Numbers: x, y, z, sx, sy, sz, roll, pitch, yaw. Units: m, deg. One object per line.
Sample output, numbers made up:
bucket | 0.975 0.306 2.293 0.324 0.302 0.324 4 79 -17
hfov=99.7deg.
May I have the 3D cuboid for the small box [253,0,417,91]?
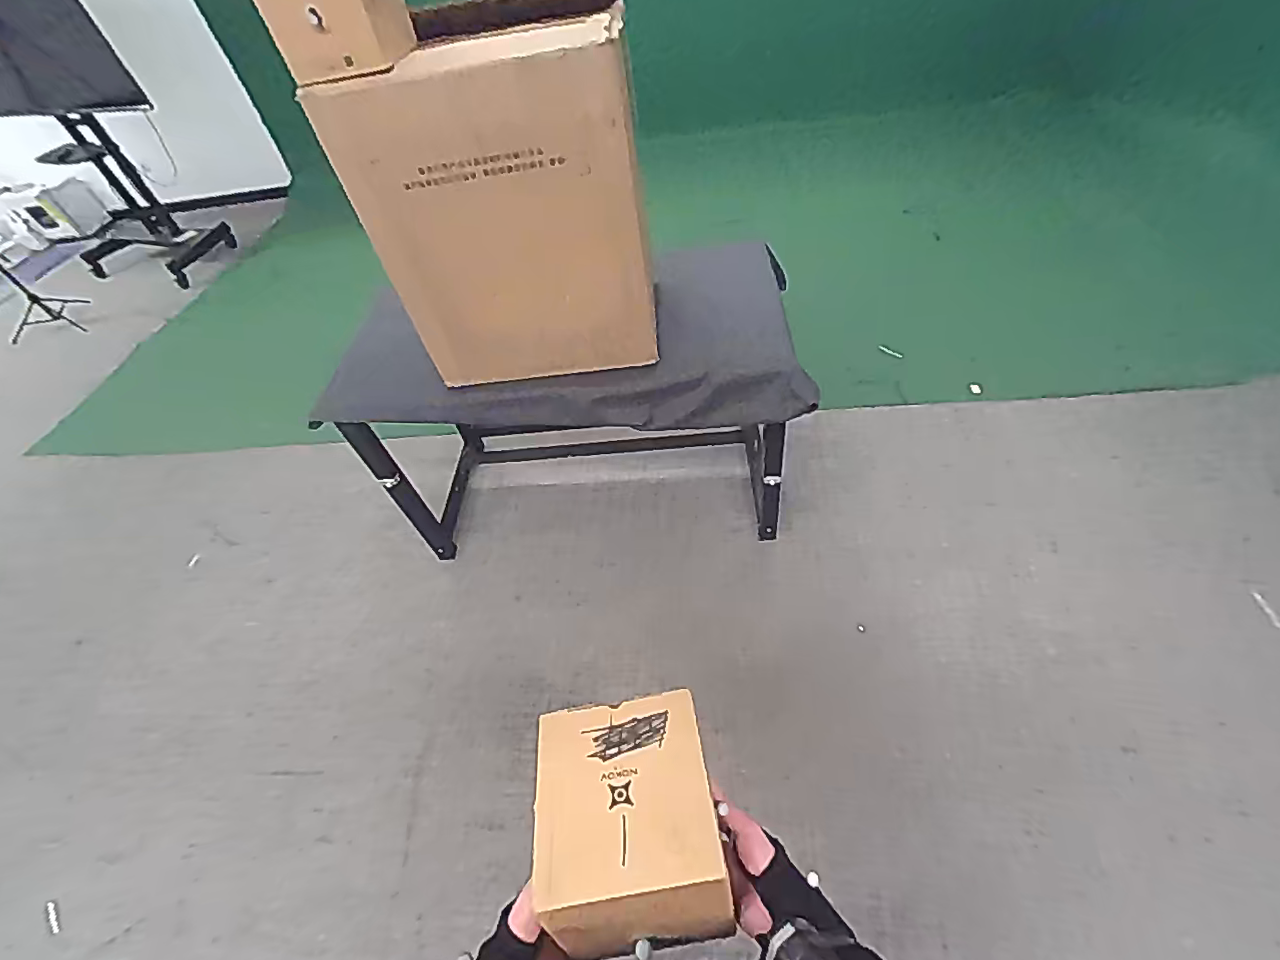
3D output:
small box | -0.496 -0.766 0.890 0.168 0.176 0.179 -5 49 7
